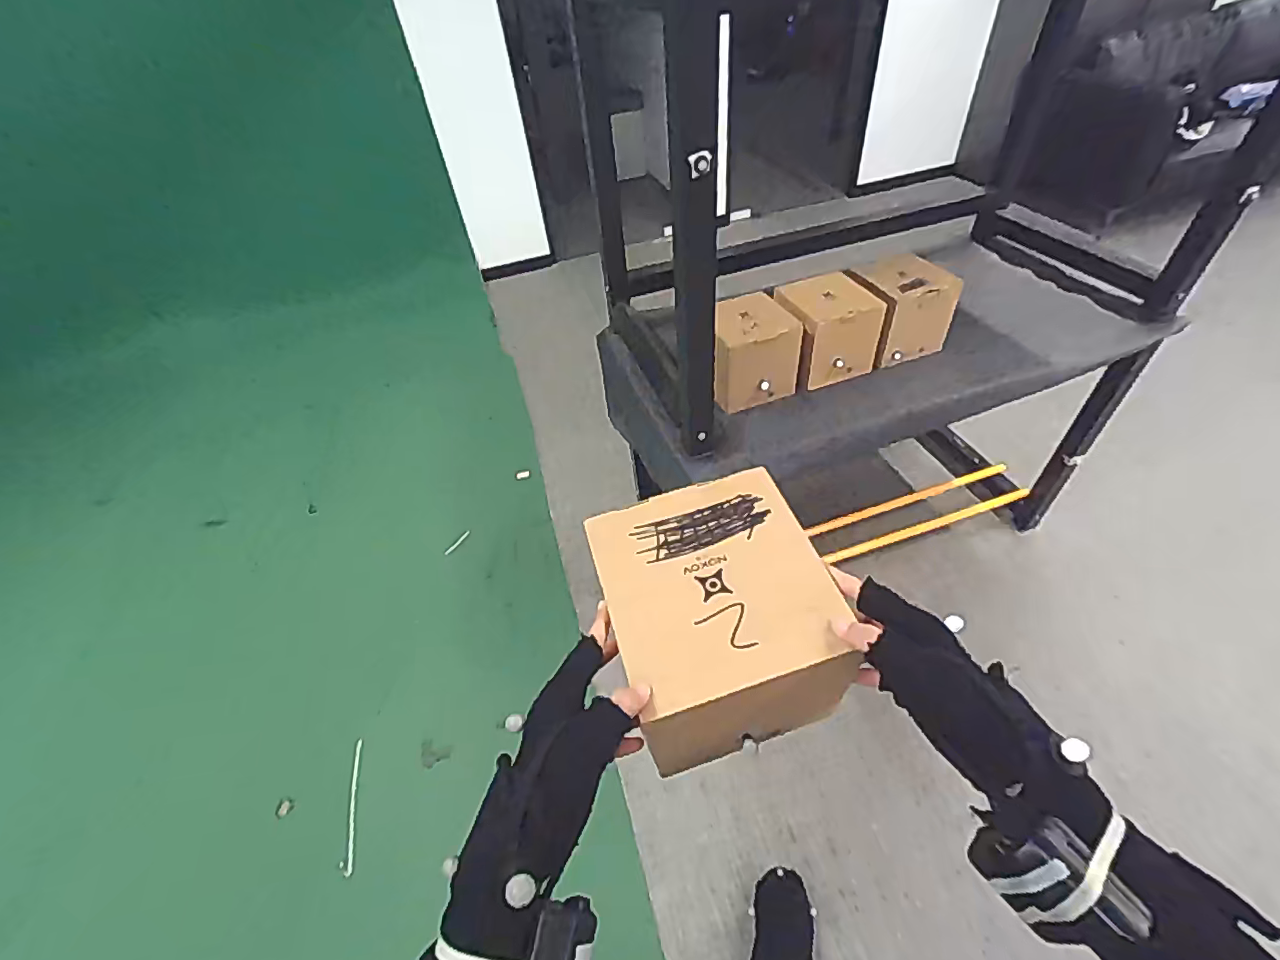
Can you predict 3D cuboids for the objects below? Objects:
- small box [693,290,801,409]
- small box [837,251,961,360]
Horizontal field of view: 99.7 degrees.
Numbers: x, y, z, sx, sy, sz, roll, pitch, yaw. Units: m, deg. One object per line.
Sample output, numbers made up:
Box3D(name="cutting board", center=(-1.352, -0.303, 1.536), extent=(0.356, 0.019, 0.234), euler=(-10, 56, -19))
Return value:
Box3D(name="small box", center=(0.222, -0.280, 1.164), extent=(0.168, 0.176, 0.179), euler=(-18, 46, -10))
Box3D(name="small box", center=(0.575, -0.389, 1.225), extent=(0.168, 0.176, 0.179), euler=(-18, 45, -10))
